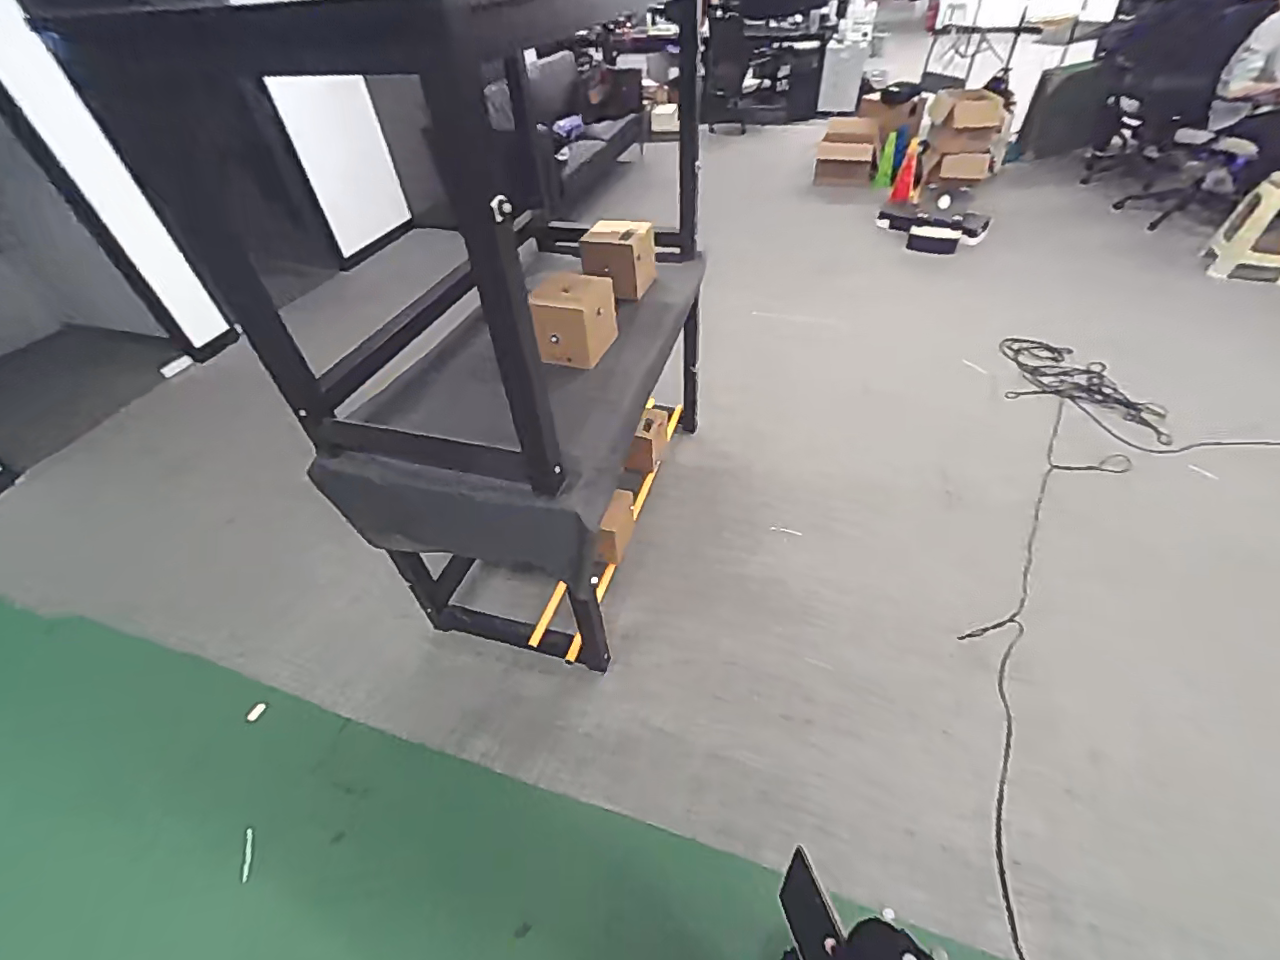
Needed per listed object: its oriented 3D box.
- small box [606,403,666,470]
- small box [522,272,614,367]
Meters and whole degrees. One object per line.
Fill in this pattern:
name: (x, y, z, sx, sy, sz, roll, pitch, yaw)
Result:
small box: (-0.010, -0.157, 2.005, 0.179, 0.176, 0.168, 13, 47, 16)
small box: (-0.175, -0.411, 1.388, 0.168, 0.176, 0.179, 13, 47, 17)
